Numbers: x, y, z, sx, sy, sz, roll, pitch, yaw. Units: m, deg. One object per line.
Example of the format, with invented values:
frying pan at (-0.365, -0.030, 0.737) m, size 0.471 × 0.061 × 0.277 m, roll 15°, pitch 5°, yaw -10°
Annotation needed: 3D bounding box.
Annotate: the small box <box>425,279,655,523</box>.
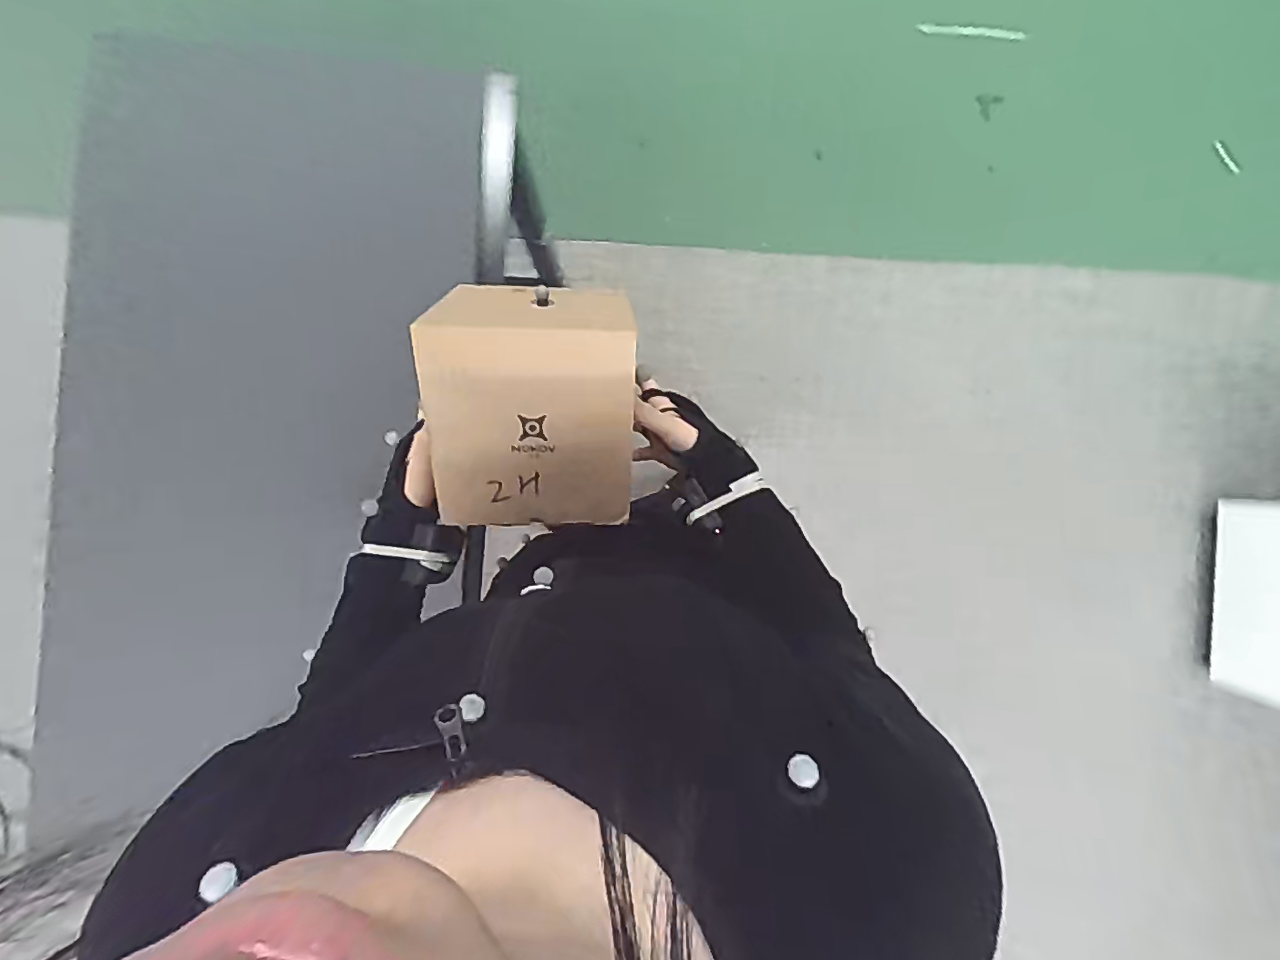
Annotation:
small box at (-0.082, -0.079, 0.490) m, size 0.168 × 0.176 × 0.179 m, roll 2°, pitch 118°, yaw -5°
